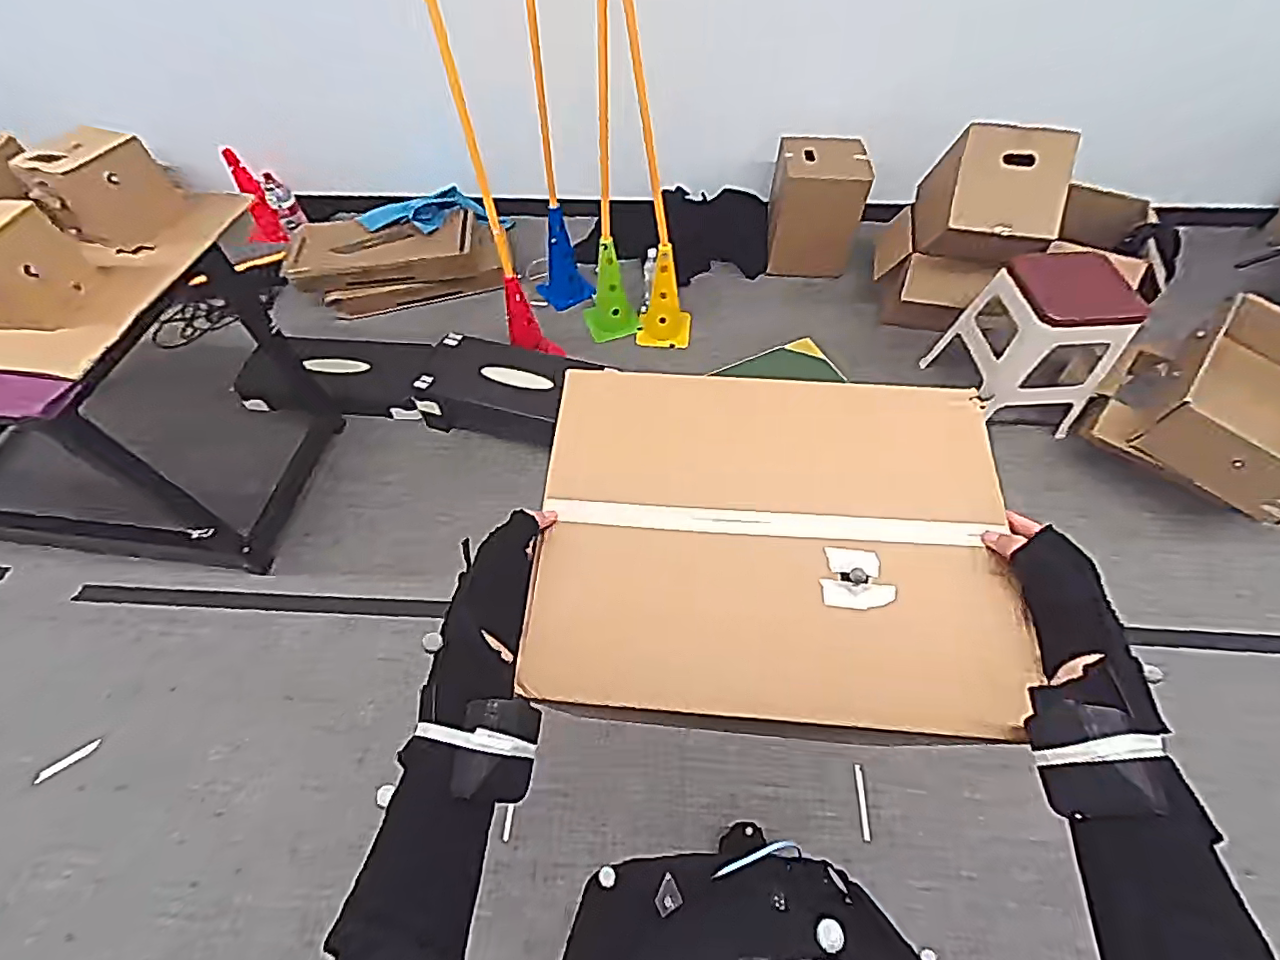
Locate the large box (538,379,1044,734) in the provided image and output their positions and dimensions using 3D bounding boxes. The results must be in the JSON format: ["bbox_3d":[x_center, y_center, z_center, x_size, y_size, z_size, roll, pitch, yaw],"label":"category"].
[{"bbox_3d":[0.125,0.106,0.620,0.408,0.320,0.320,4,65,3],"label":"large box"}]
